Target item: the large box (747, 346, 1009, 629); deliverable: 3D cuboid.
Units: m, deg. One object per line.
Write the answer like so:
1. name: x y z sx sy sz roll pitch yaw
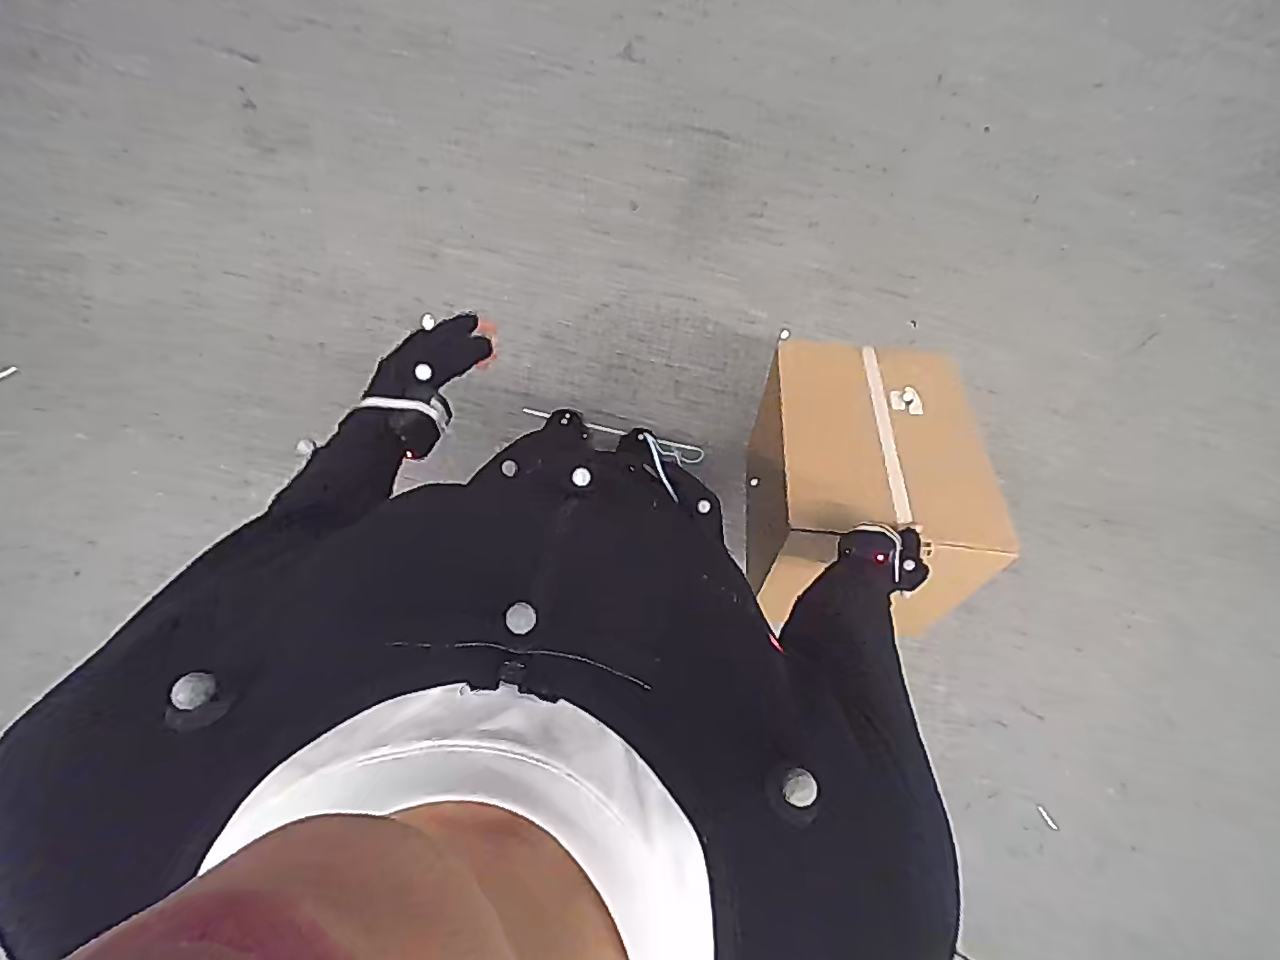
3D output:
1. large box: 0.375 0.017 0.985 0.320 0.320 0.408 7 53 2
